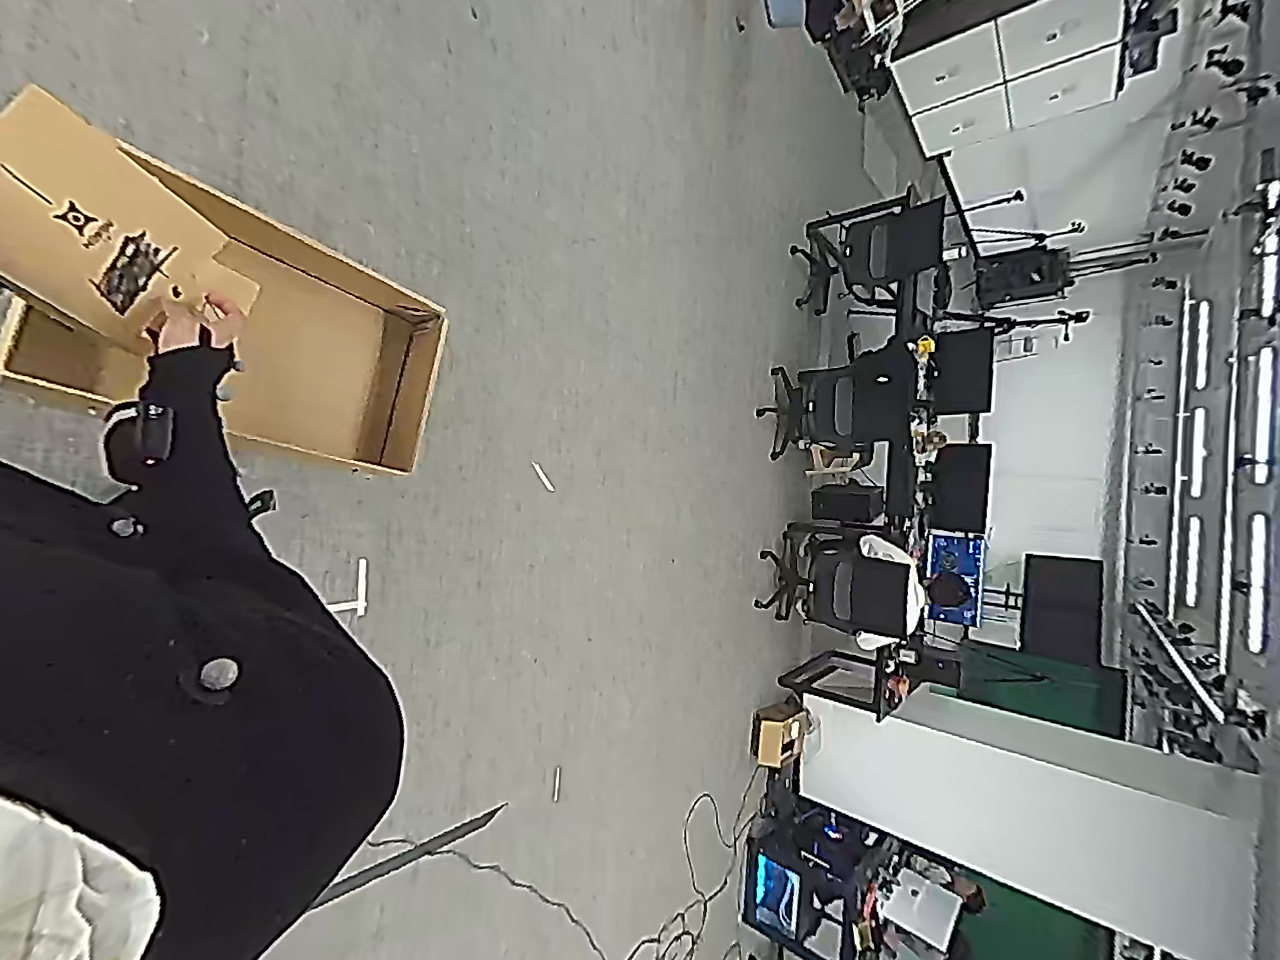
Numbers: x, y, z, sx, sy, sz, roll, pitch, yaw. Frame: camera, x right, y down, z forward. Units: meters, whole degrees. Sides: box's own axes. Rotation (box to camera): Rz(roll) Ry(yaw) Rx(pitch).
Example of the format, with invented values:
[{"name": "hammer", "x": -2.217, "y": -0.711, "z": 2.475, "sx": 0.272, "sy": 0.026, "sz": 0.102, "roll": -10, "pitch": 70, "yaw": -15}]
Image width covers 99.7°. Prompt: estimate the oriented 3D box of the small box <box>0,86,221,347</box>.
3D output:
[{"name": "small box", "x": -0.611, "y": -0.266, "z": 0.575, "sx": 0.179, "sy": 0.176, "sz": 0.168, "roll": 48, "pitch": 63, "yaw": -49}]
